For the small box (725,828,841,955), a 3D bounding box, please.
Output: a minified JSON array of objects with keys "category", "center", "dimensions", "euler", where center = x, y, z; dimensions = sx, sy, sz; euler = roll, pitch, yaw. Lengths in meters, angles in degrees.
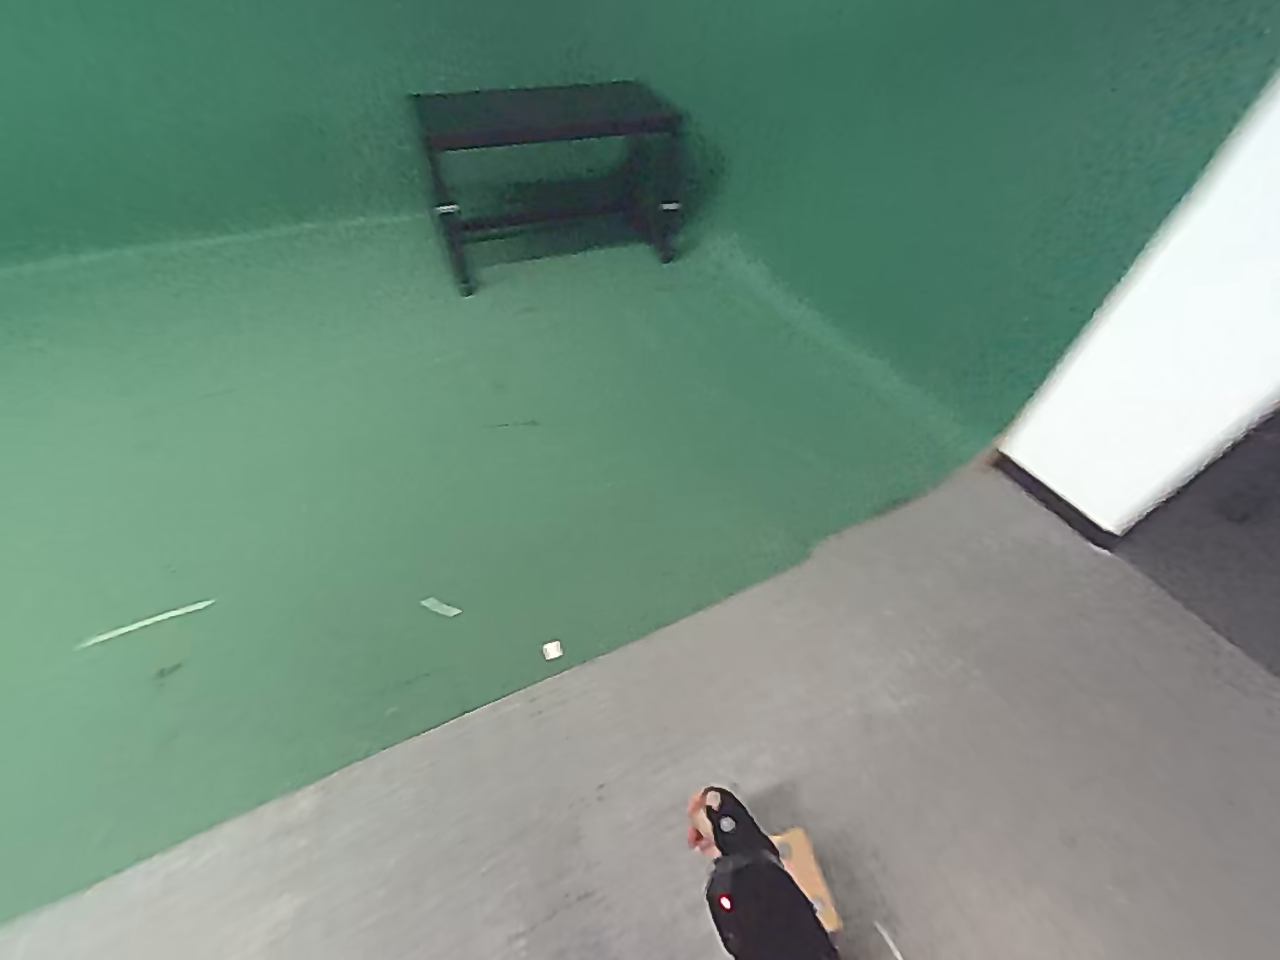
[{"category":"small box","center":[0.294,0.872,1.148],"dimensions":[0.168,0.176,0.179],"euler":[-10,49,-11]}]
